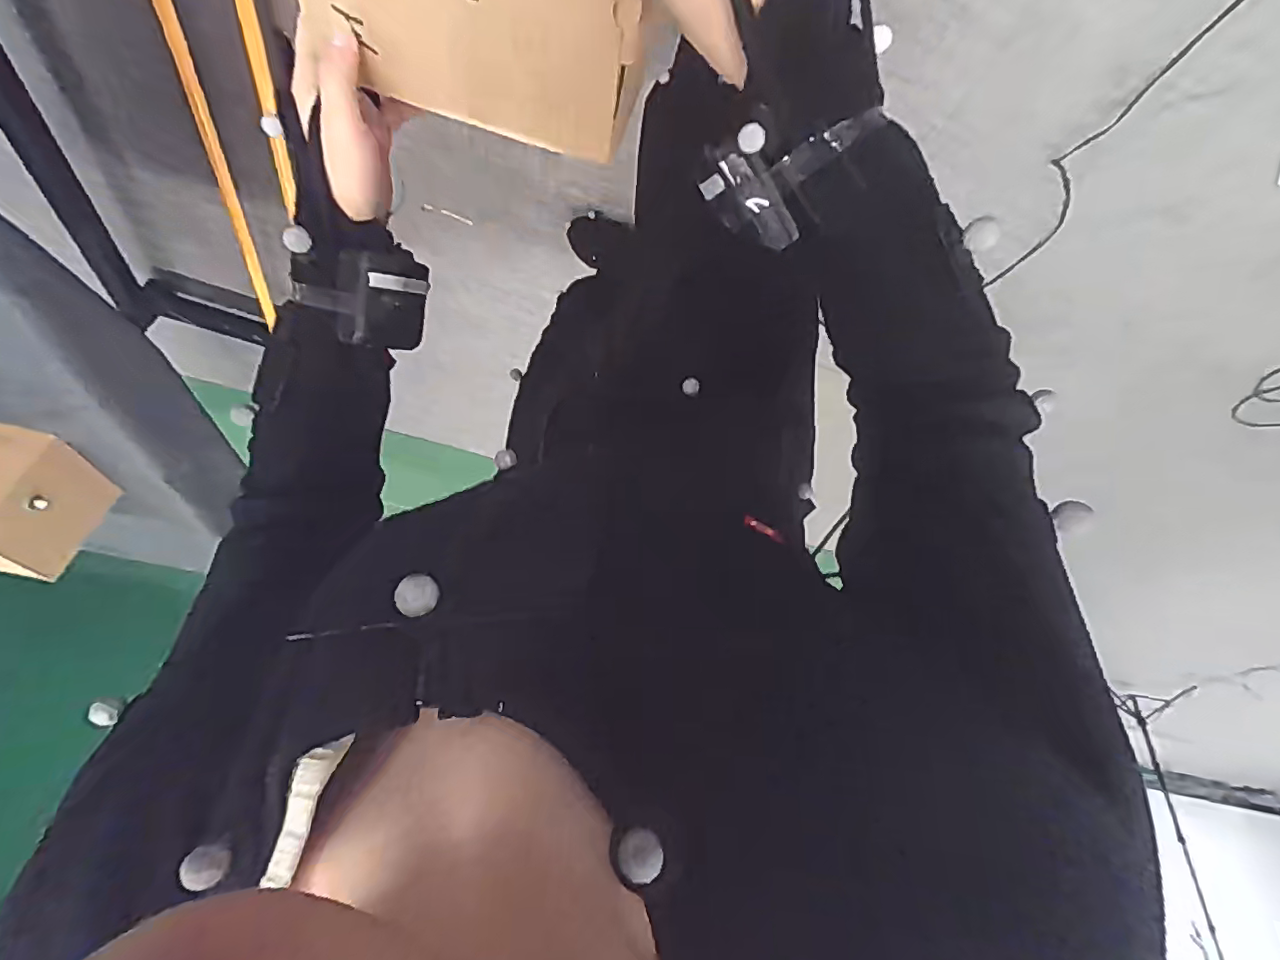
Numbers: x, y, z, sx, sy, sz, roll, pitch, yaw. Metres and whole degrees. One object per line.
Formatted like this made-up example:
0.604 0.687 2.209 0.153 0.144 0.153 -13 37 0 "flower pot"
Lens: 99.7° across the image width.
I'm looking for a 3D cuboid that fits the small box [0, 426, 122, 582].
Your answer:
-0.941 0.028 0.794 0.168 0.176 0.179 15 148 -7 "small box"
